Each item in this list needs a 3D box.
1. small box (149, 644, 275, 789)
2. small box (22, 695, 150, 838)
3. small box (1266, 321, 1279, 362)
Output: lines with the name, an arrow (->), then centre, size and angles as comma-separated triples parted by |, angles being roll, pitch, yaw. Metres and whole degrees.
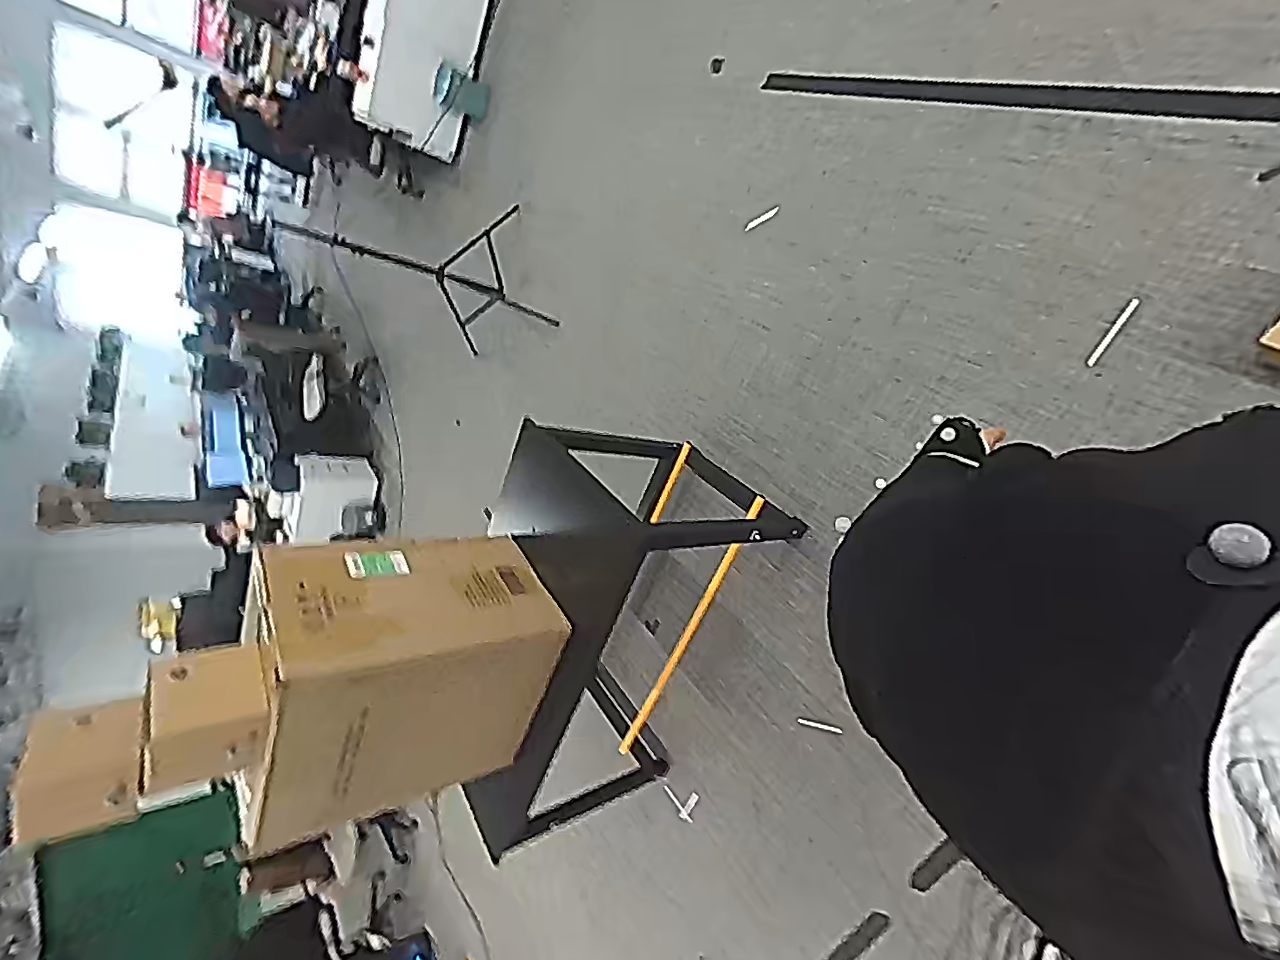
small box -> -0.809, 0.431, 1.021 | 0.179, 0.176, 0.168 | 45, 122, 38
small box -> -1.094, 0.556, 1.081 | 0.179, 0.176, 0.168 | 40, 117, 41
small box -> 1.187, -0.252, 0.876 | 0.179, 0.176, 0.168 | 45, 121, 38
